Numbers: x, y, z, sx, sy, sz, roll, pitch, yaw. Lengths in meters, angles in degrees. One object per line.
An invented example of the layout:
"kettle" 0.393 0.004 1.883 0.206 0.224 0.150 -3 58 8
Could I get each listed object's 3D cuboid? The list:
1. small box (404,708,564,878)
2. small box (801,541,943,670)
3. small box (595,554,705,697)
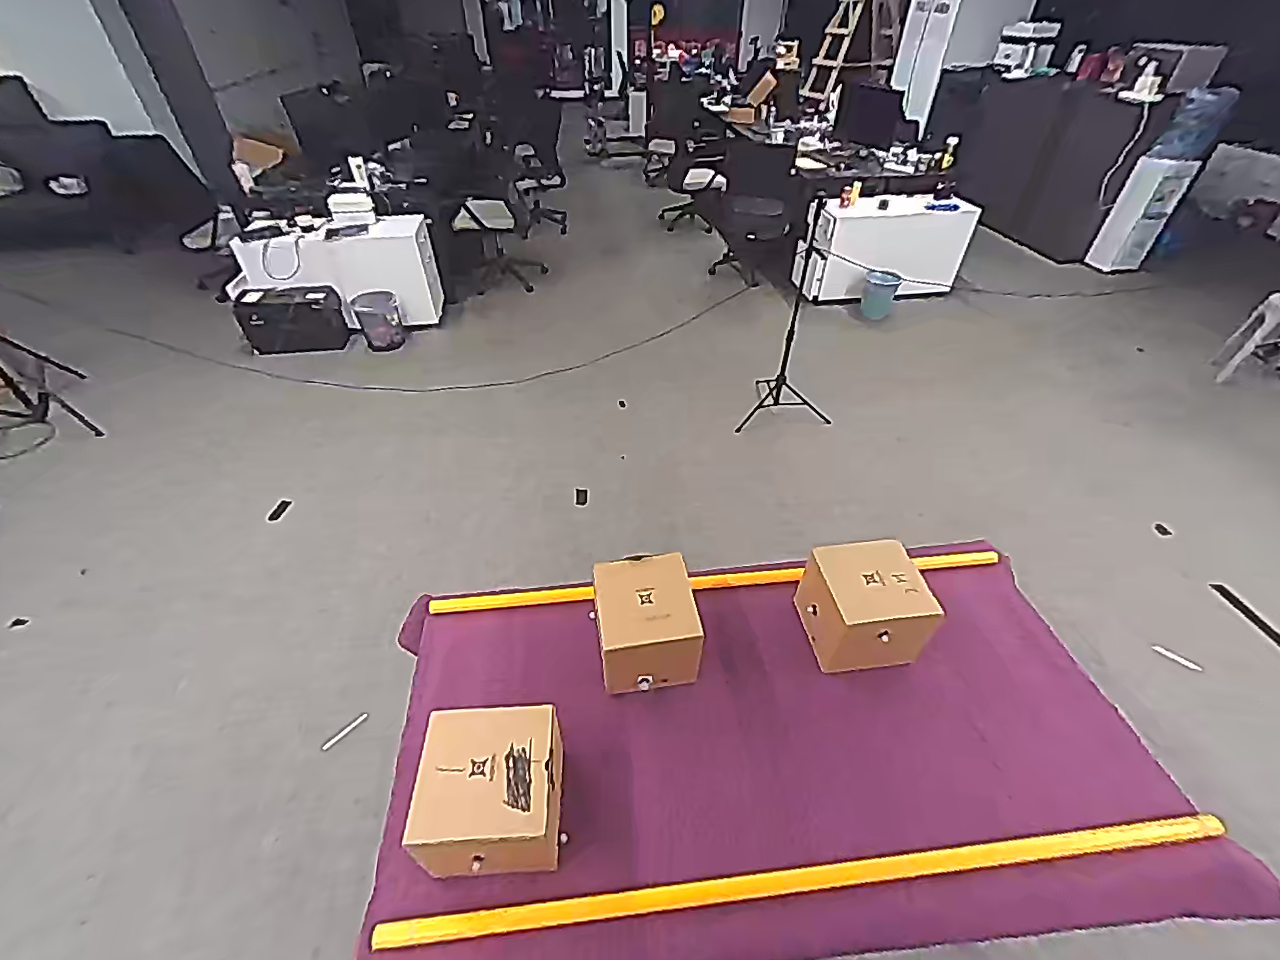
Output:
"small box" -0.202 0.442 0.763 0.179 0.176 0.168 -2 42 -3
"small box" 0.410 0.235 1.000 0.179 0.176 0.168 -5 44 -5
"small box" 0.011 0.260 0.972 0.168 0.176 0.179 -7 43 -7
